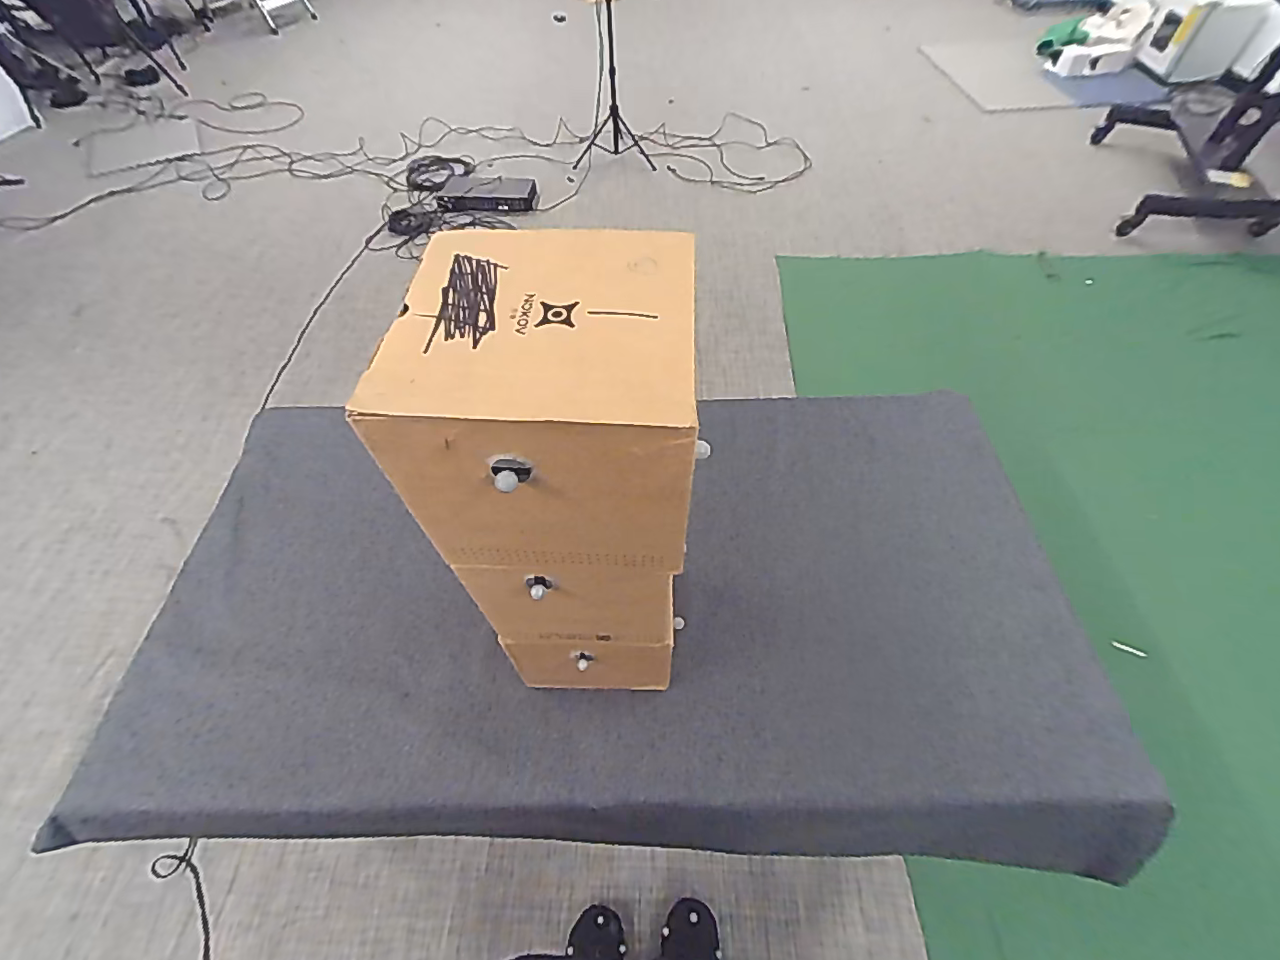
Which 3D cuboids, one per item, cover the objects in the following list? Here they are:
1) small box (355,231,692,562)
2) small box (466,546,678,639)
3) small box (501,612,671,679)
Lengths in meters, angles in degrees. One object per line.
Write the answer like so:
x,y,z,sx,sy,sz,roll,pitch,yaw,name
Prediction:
-0.056,-0.052,0.385,0.179,0.176,0.168,3,56,3,small box
-0.052,0.040,0.525,0.168,0.176,0.179,0,56,0,small box
-0.051,0.135,0.654,0.179,0.176,0.168,1,55,1,small box
